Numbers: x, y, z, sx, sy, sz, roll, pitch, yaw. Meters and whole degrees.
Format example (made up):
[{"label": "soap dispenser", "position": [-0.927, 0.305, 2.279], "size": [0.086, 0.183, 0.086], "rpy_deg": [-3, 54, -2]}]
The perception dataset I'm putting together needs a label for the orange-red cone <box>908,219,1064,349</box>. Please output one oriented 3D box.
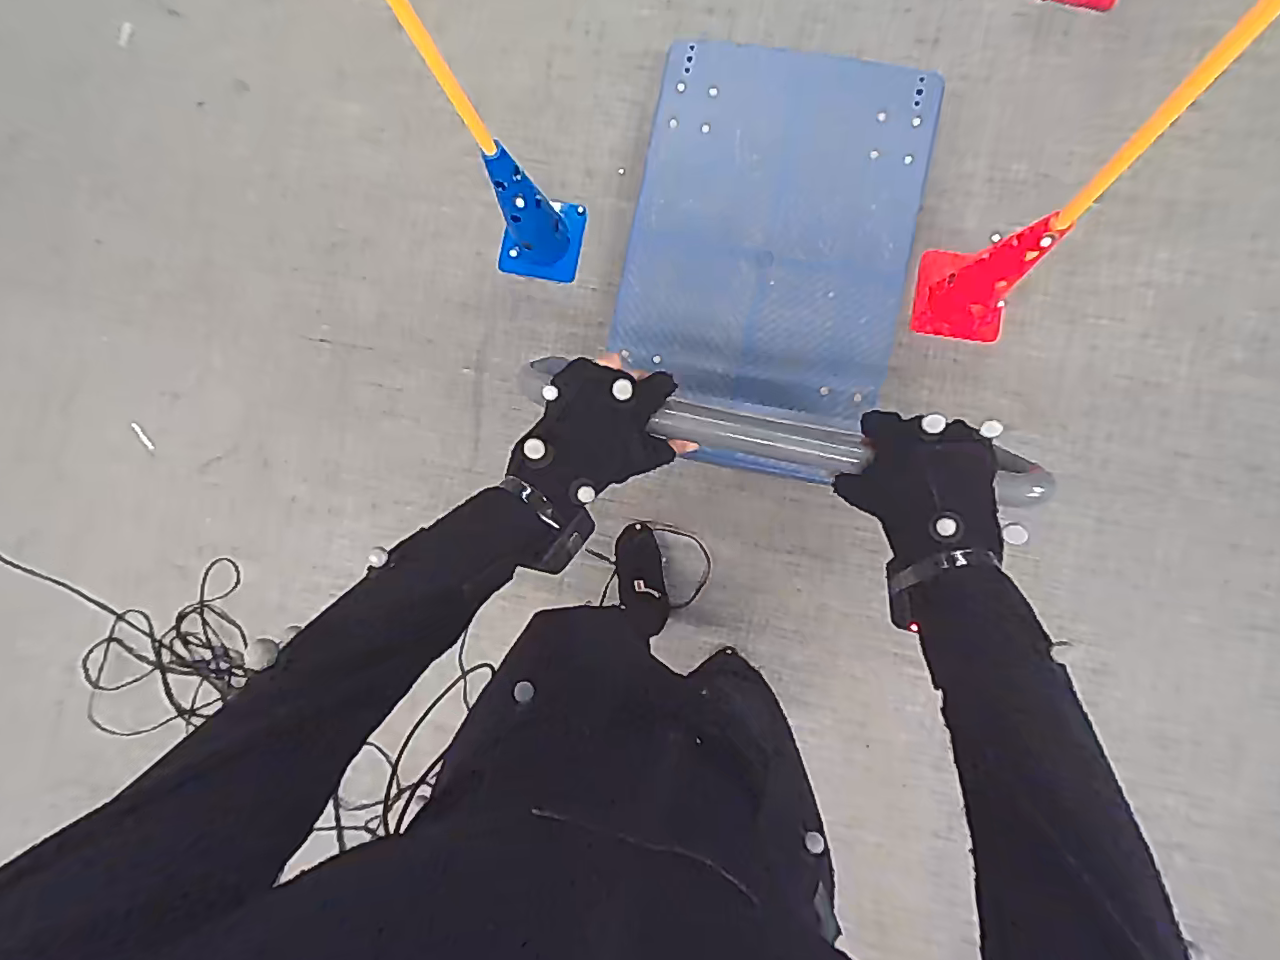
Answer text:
[{"label": "orange-red cone", "position": [0.727, -0.423, 1.103], "size": [0.199, 0.360, 0.198], "rpy_deg": [11, 89, 7]}]
